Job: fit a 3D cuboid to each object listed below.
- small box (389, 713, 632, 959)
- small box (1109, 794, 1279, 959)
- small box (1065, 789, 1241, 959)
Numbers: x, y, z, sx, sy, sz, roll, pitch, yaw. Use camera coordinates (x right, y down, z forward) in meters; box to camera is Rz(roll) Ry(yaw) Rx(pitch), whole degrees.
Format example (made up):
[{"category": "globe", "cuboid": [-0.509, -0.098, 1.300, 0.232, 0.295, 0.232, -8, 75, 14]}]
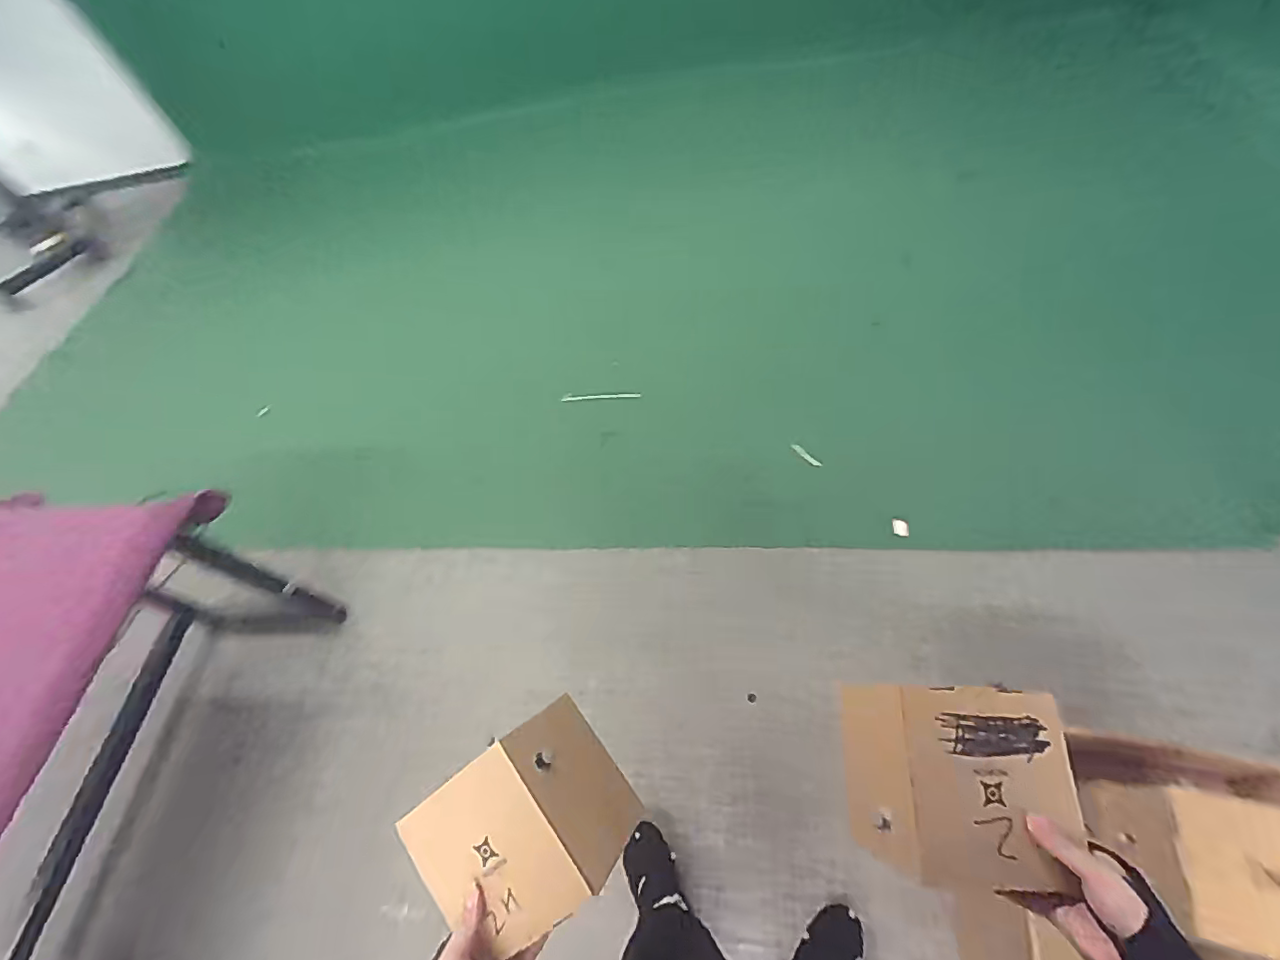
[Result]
[{"category": "small box", "cuboid": [-0.138, 0.397, 0.626, 0.168, 0.176, 0.179, -42, 75, 10]}, {"category": "small box", "cuboid": [0.774, 0.526, 0.710, 0.179, 0.176, 0.168, 6, 61, 17]}, {"category": "small box", "cuboid": [0.804, 0.607, 0.849, 0.168, 0.176, 0.179, 7, 61, 18]}]
